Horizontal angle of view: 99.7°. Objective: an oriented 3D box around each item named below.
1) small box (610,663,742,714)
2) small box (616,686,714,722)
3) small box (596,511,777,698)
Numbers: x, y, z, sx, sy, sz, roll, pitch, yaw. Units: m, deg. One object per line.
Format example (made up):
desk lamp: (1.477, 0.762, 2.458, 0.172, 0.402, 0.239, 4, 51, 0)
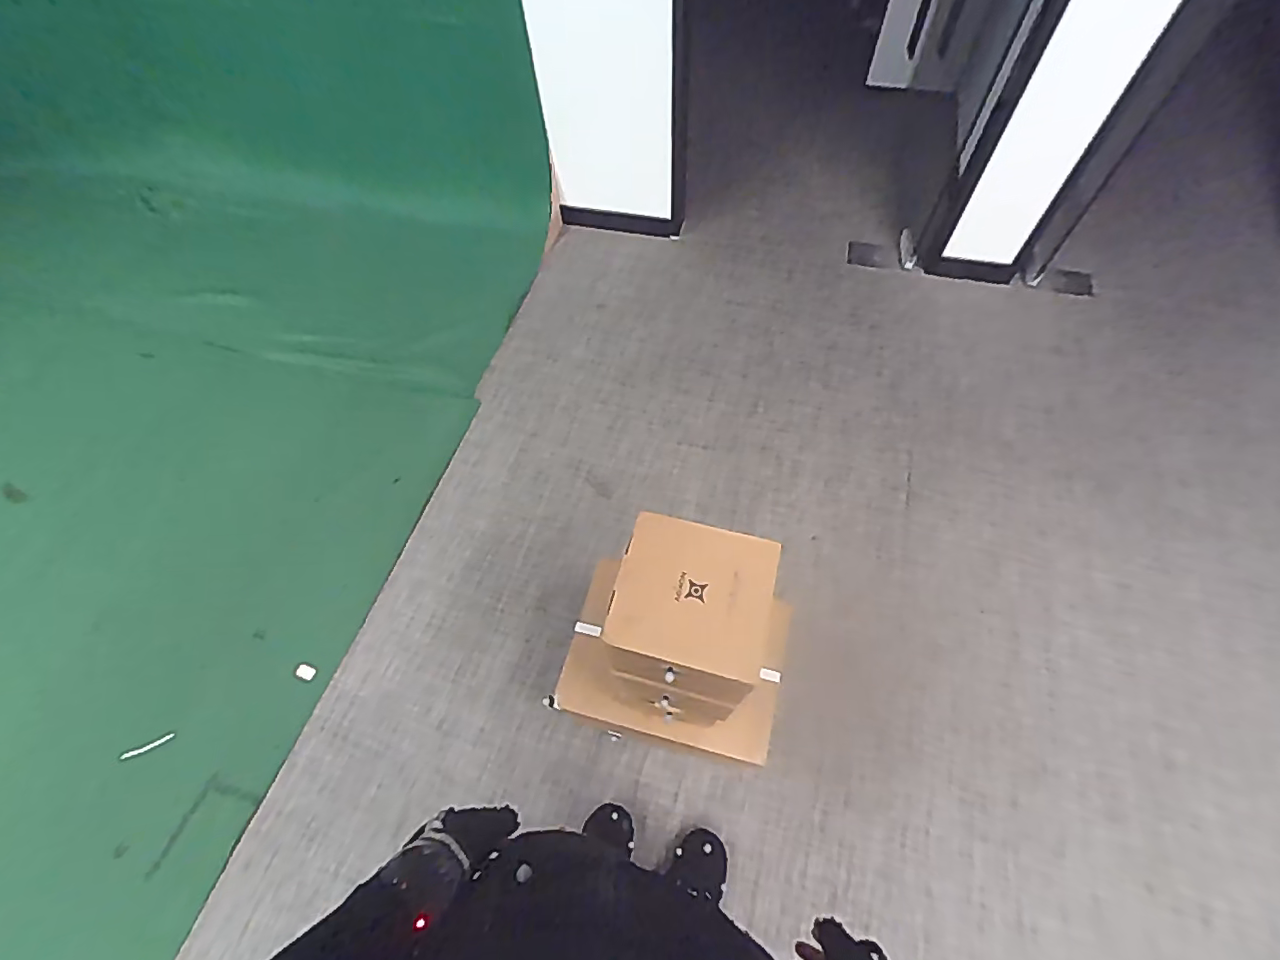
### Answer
small box: (0.064, 0.247, 0.818, 0.179, 0.176, 0.168, 10, 62, 8)
small box: (0.065, 0.320, 0.965, 0.168, 0.176, 0.179, 11, 62, 9)
small box: (0.059, 0.163, 0.680, 0.179, 0.176, 0.168, 13, 63, 9)
